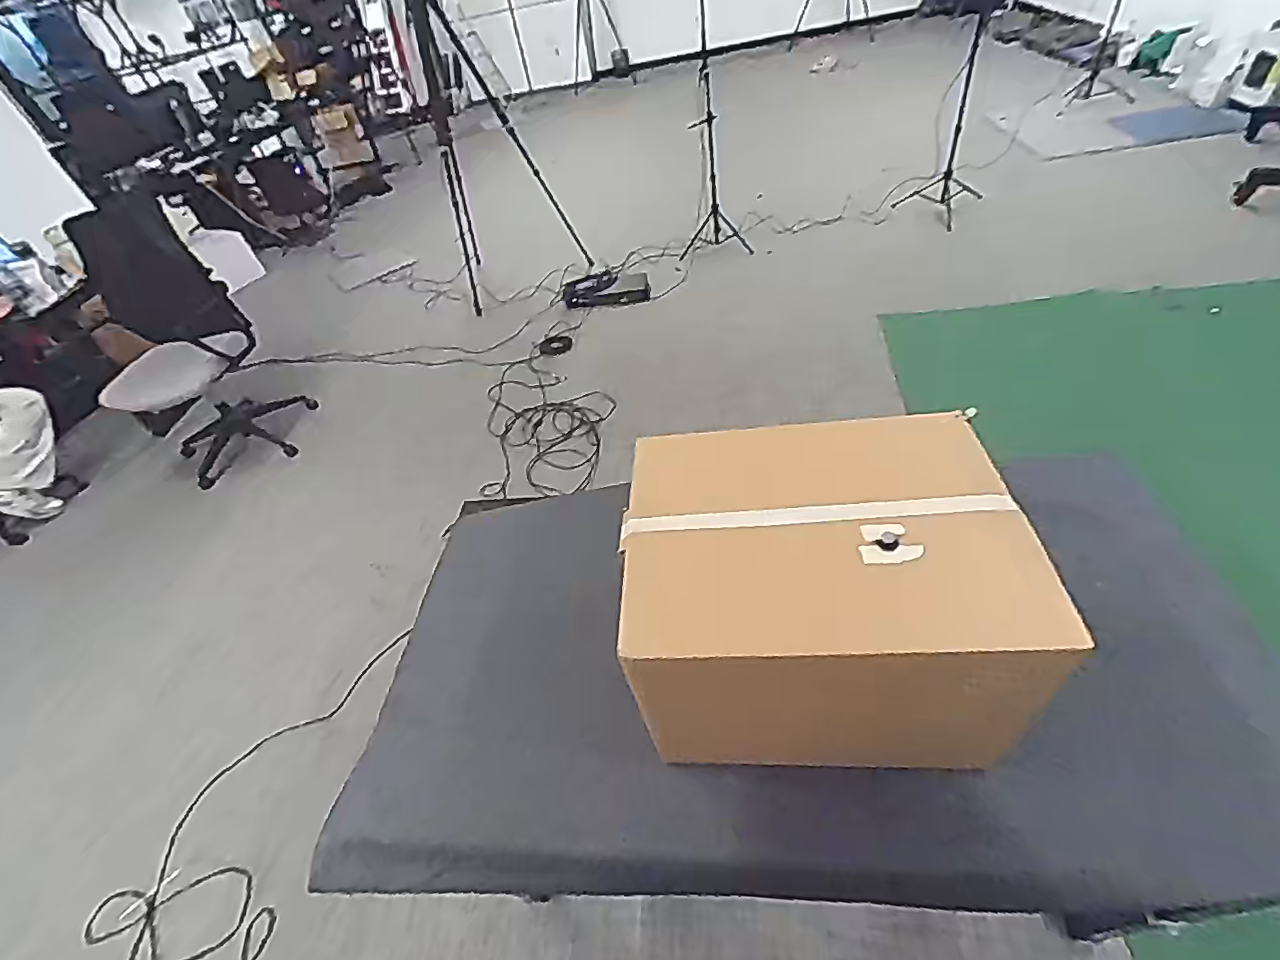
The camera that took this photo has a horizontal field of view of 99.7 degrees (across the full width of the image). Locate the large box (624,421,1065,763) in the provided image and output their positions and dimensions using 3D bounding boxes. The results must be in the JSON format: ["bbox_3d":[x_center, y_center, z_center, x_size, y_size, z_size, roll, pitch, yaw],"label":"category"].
[{"bbox_3d":[0.206,0.153,0.704,0.408,0.320,0.320,-4,46,8],"label":"large box"}]
